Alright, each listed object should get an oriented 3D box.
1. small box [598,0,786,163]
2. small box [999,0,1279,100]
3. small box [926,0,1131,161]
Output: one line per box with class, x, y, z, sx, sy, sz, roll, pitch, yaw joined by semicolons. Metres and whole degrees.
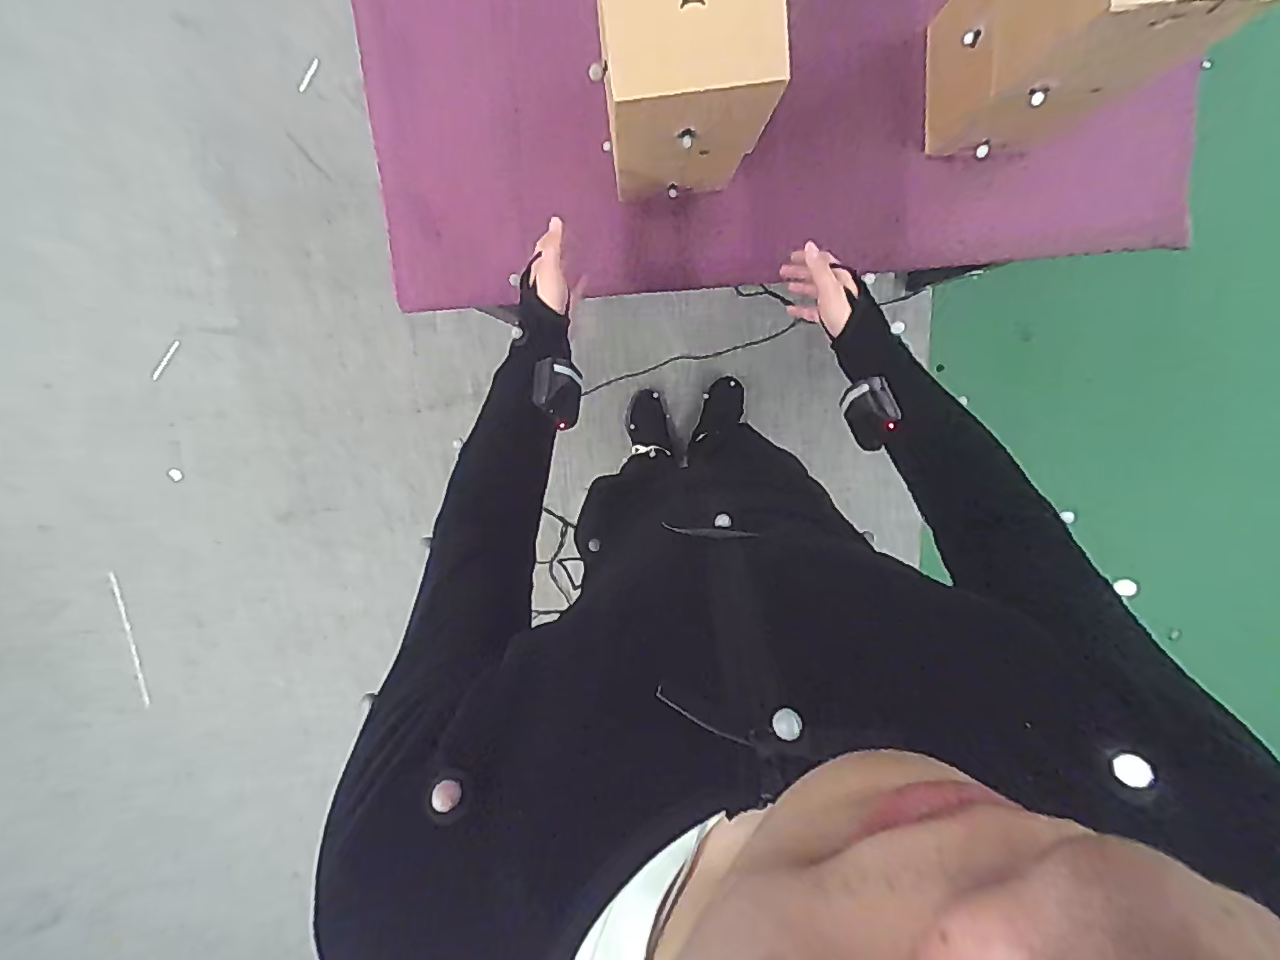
small box;0.045;-0.449;0.555;0.168;0.176;0.179;-6;101;1
small box;0.495;-0.516;0.545;0.168;0.176;0.179;-3;98;2
small box;0.498;-0.547;0.705;0.168;0.176;0.179;-2;100;2
